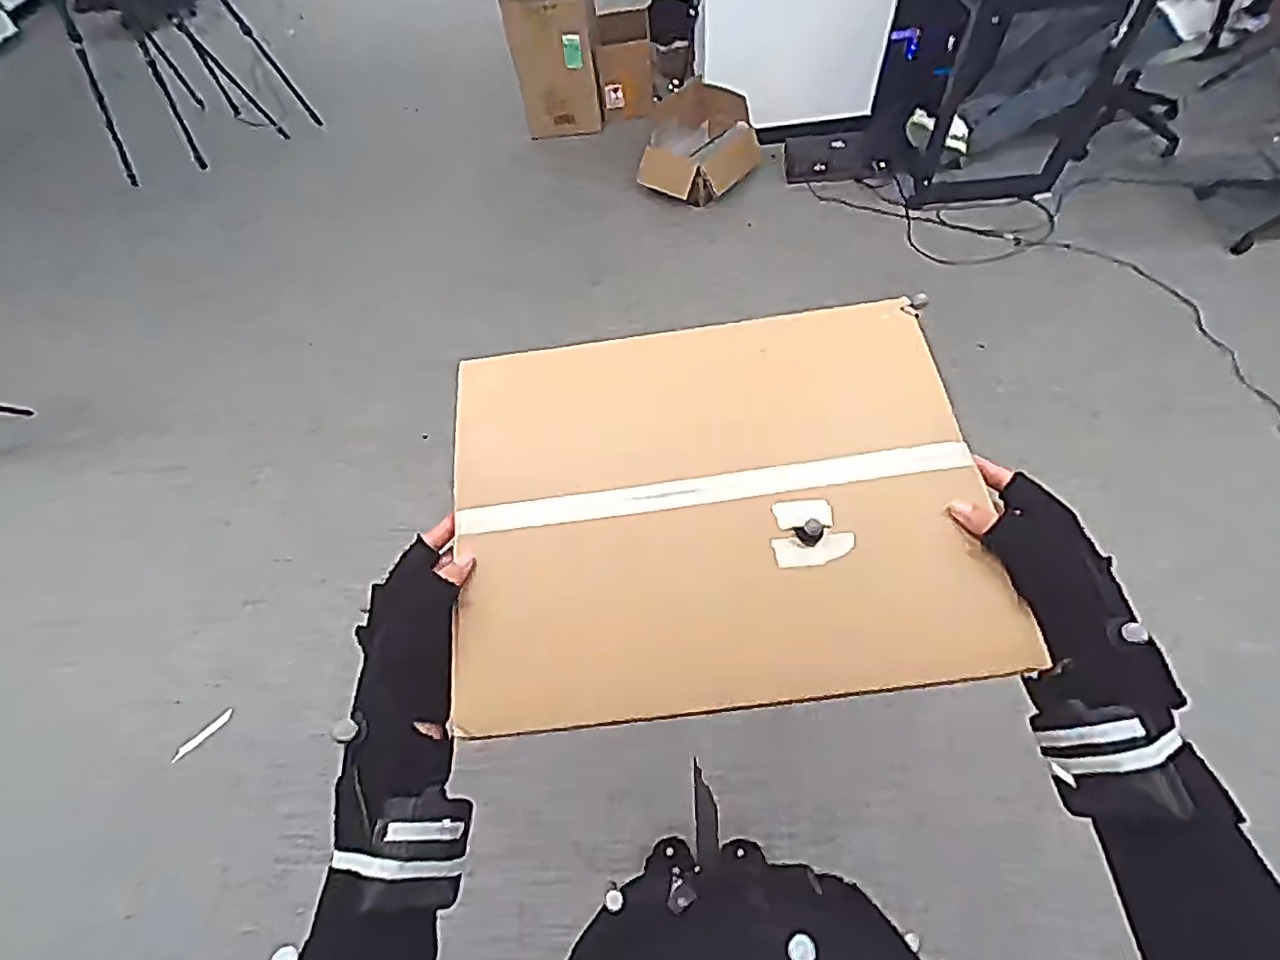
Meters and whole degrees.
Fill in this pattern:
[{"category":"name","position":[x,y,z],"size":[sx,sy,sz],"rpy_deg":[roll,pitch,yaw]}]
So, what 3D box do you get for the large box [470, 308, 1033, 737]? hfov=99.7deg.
[{"category":"large box","position":[0.068,0.069,0.570],"size":[0.408,0.320,0.320],"rpy_deg":[-8,67,1]}]
